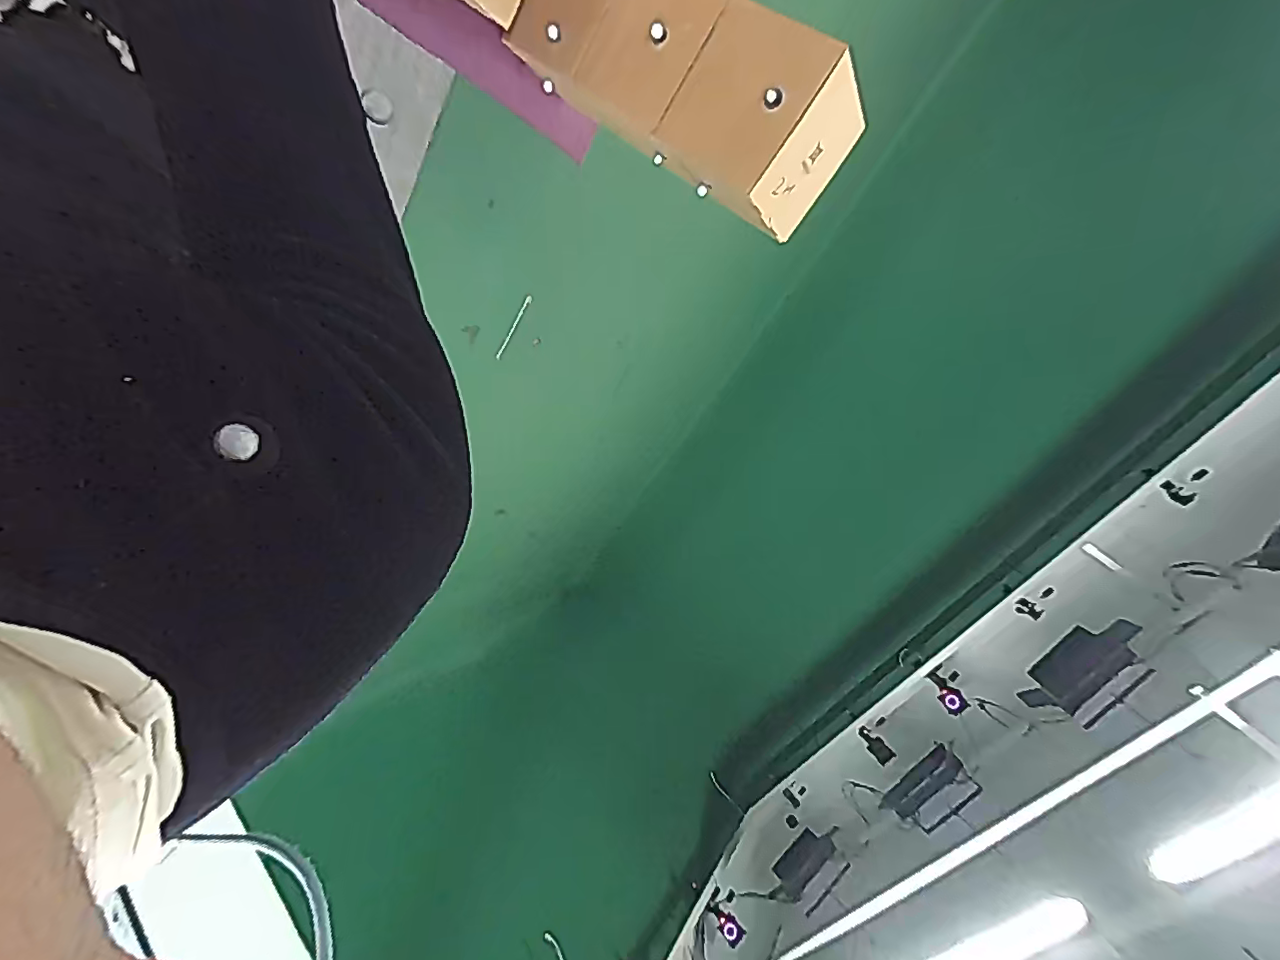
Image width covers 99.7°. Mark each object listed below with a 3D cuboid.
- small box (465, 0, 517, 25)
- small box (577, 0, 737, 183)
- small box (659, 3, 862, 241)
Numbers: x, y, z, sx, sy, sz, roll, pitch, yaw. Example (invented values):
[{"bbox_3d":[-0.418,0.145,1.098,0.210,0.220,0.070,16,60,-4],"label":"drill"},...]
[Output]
[{"bbox_3d":[-0.212,-0.650,0.570,0.179,0.176,0.168,-56,158,22],"label":"small box"},{"bbox_3d":[0.043,-0.564,0.760,0.179,0.176,0.168,-54,158,20],"label":"small box"},{"bbox_3d":[0.156,-0.457,0.705,0.179,0.176,0.168,-53,159,20],"label":"small box"}]
